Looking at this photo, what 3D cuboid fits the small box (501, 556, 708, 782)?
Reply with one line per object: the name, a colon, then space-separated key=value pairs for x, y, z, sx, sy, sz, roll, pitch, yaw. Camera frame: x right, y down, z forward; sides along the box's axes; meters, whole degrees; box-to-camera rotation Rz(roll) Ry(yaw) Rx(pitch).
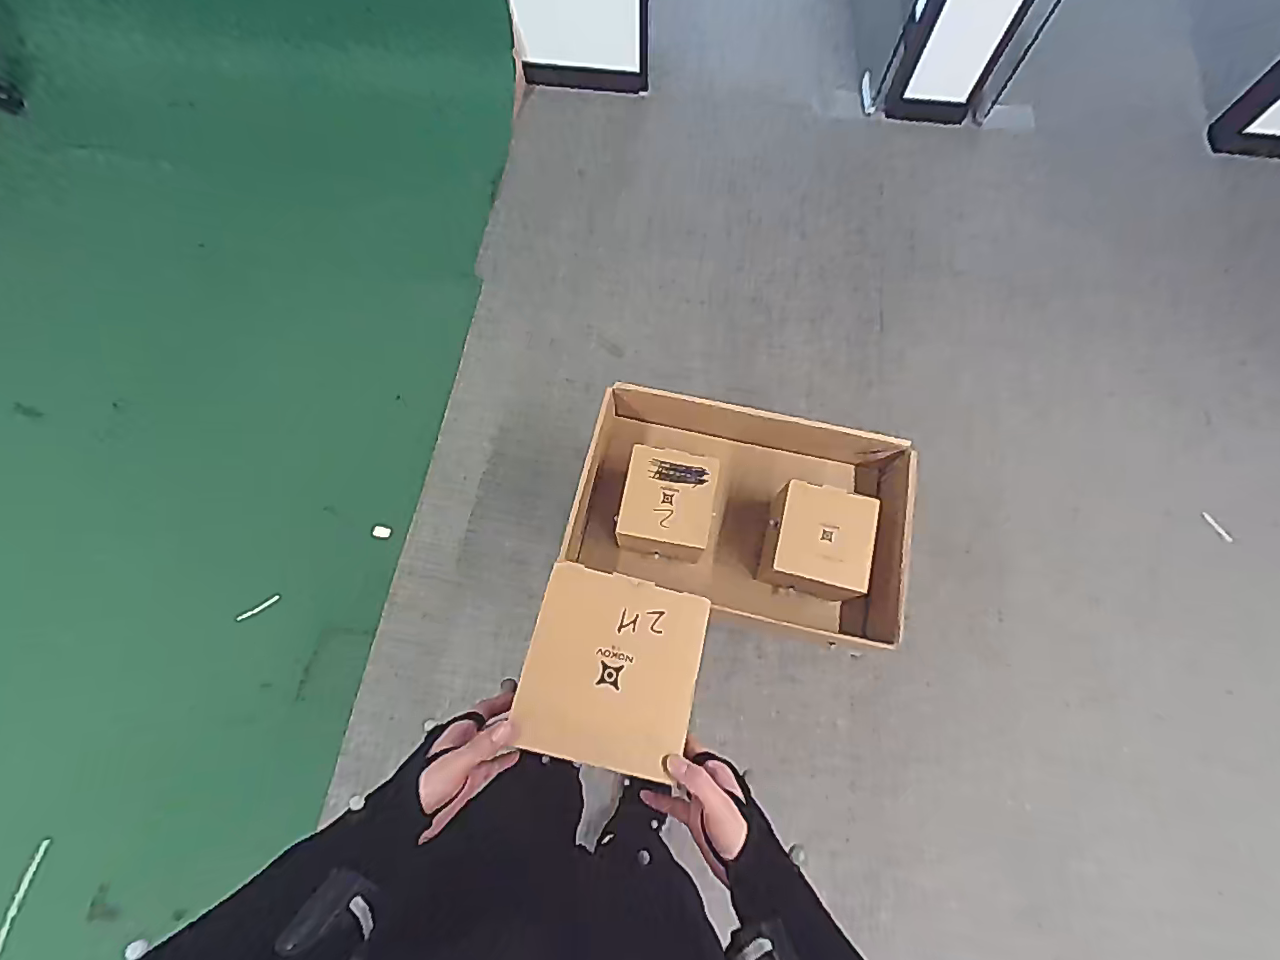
small box: x=-0.038 y=0.203 z=0.594 sx=0.168 sy=0.176 sz=0.179 roll=15 pitch=69 yaw=-2
